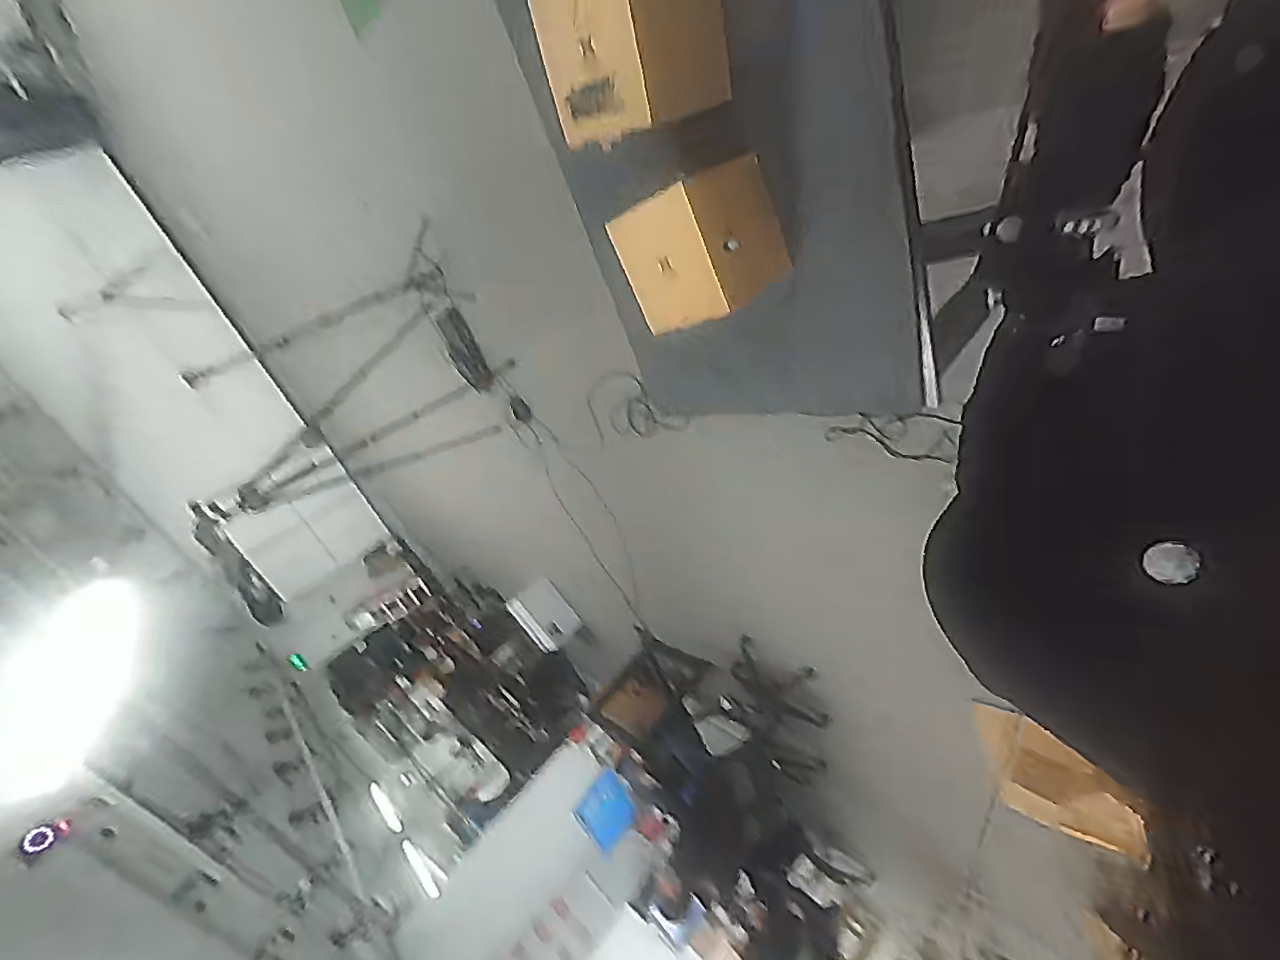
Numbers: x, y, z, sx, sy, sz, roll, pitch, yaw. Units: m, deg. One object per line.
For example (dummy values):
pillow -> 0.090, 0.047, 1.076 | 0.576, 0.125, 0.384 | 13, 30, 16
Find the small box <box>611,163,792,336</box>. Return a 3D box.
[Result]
small box -> 0.095, -0.341, 0.801 | 0.168, 0.176, 0.179 | 1, 125, 51
